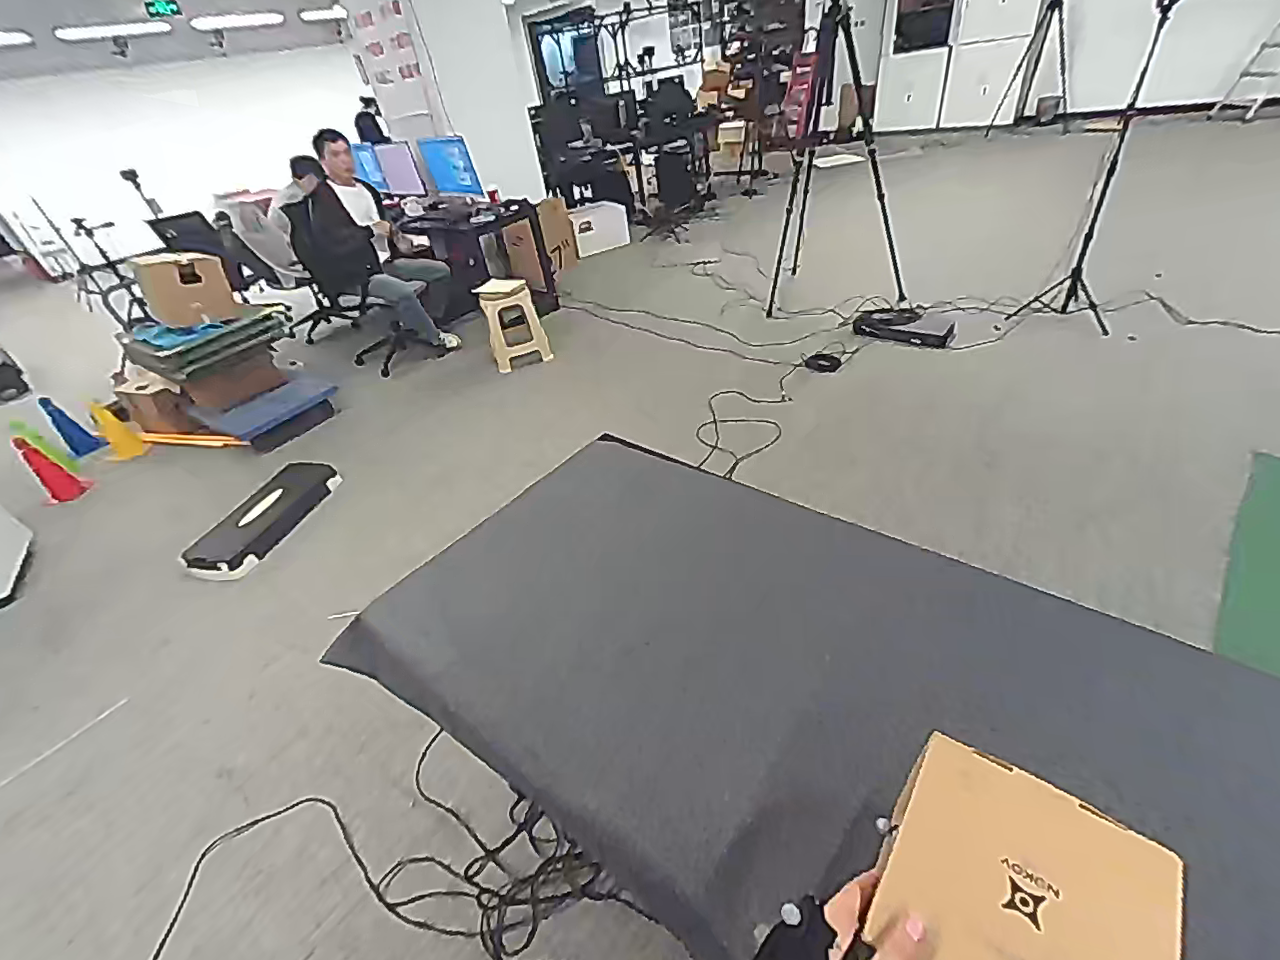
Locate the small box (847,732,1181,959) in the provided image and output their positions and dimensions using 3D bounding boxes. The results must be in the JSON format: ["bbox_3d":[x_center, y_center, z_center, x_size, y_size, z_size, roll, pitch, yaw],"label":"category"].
[{"bbox_3d":[0.278,0.350,0.428,0.168,0.176,0.179,20,49,31],"label":"small box"}]
